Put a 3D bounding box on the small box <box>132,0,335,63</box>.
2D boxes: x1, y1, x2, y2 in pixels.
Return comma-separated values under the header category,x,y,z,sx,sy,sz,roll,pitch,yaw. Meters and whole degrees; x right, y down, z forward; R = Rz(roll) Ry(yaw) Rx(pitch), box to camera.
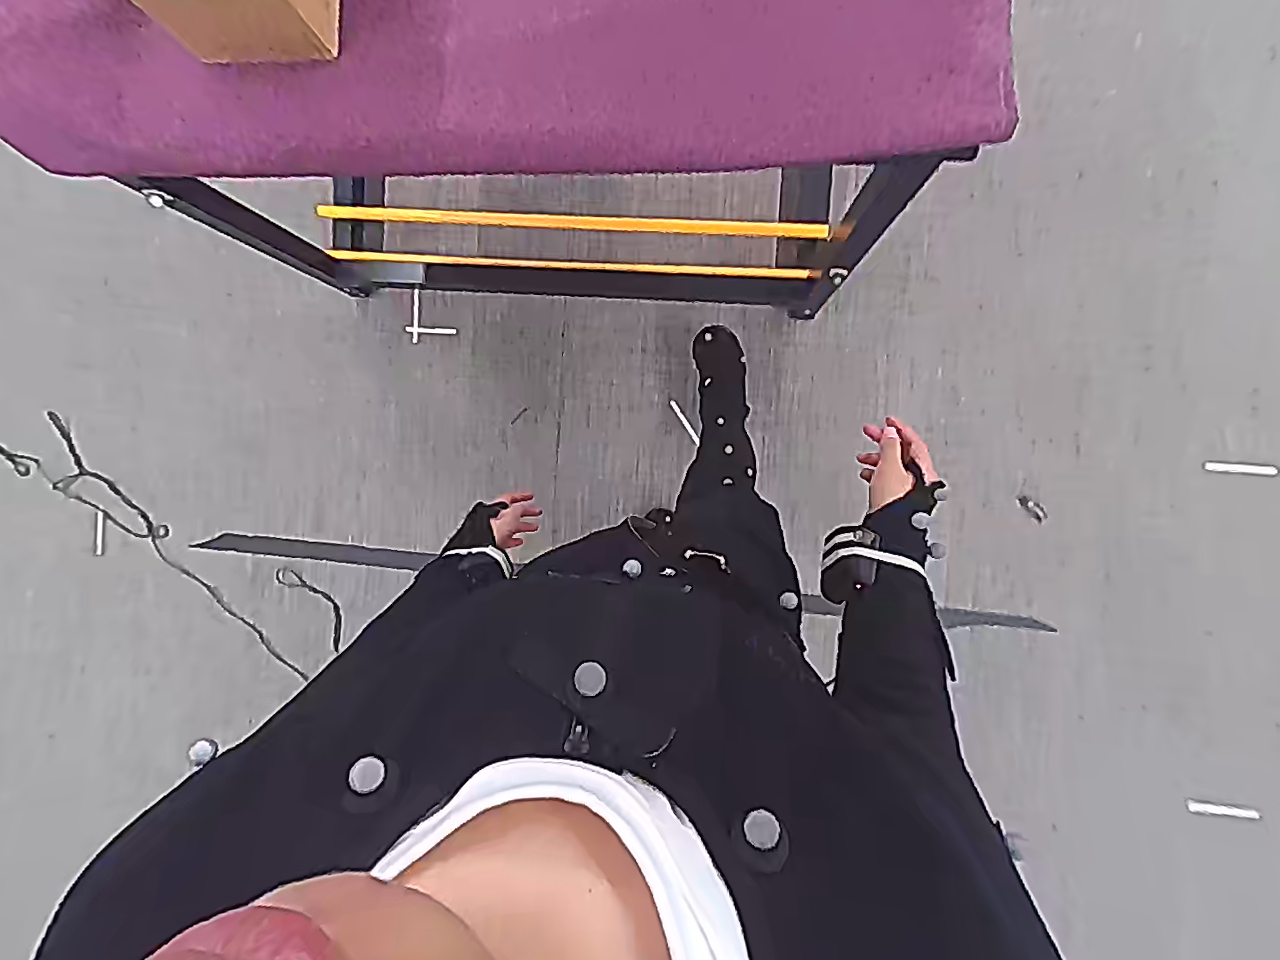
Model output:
category,x,y,z,sx,sy,sz,roll,pitch,yaw
small box,-0.441,-0.575,0.562,0.179,0.176,0.168,2,92,5
